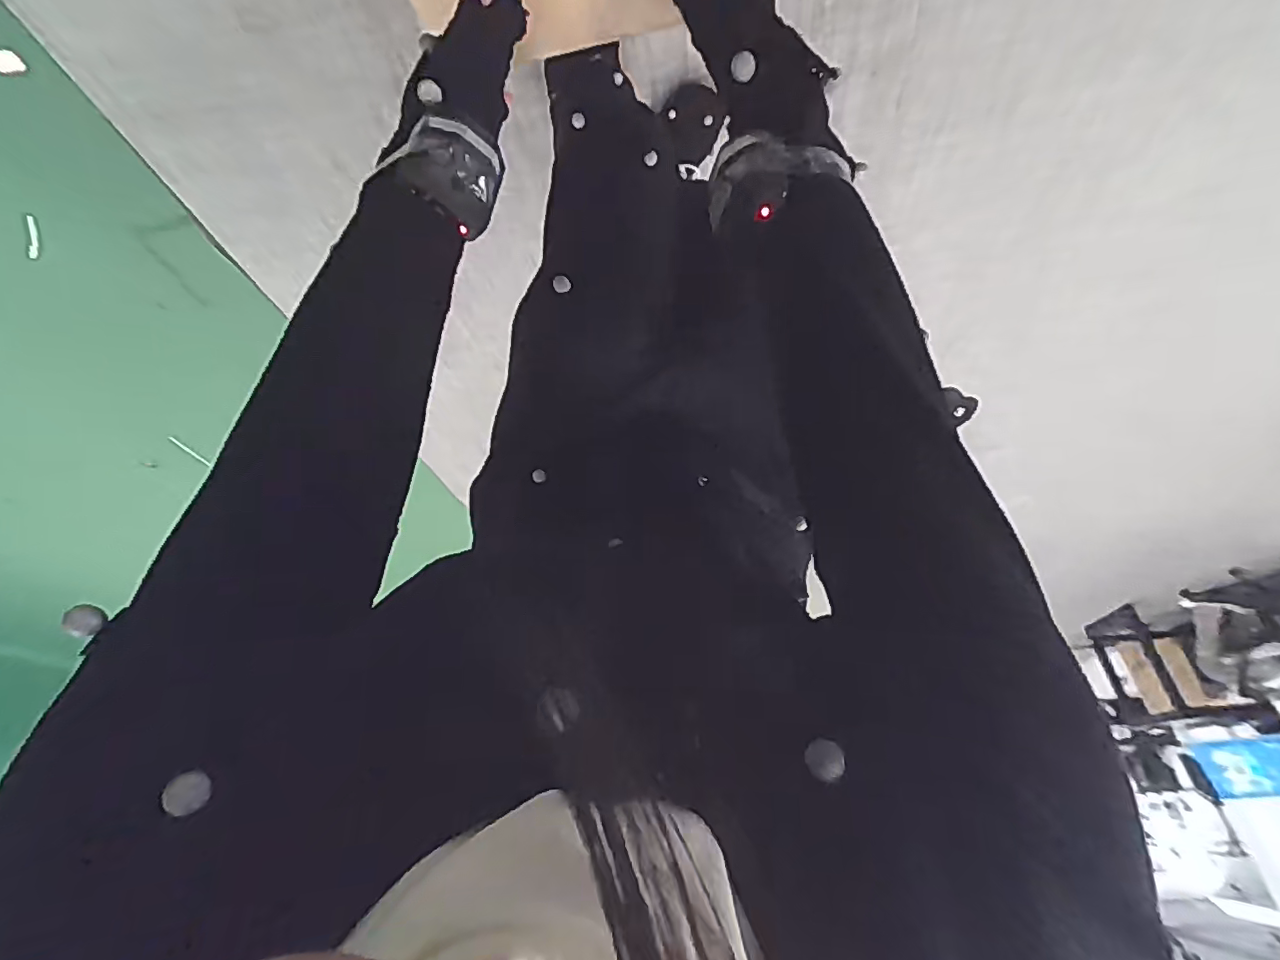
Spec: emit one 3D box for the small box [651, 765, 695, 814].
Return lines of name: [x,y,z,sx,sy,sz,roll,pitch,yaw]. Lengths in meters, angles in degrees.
small box: [0.141,1.312,2.298,0.168,0.176,0.179,-6,147,5]

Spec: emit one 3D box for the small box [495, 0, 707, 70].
small box: [-0.045,-0.491,0.451,0.179,0.176,0.168,-7,149,8]
